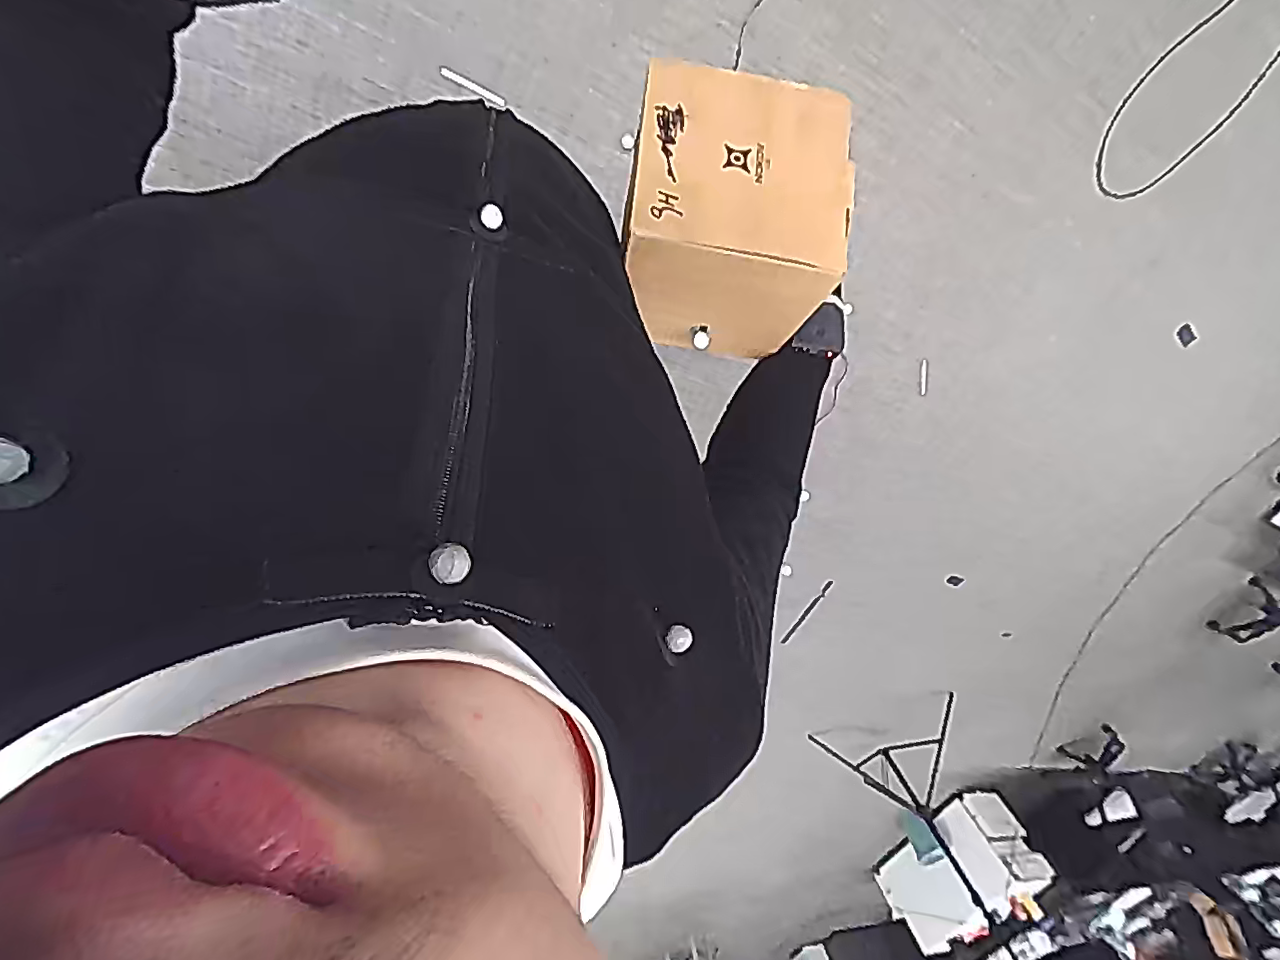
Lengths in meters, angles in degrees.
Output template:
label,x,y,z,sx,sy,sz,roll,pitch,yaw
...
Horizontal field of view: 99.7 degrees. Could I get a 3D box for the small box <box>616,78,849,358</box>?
label,x,y,z,sx,sy,sz,roll,pitch,yaw
small box,0.080,-0.235,0.530,0.179,0.176,0.168,8,77,-7
